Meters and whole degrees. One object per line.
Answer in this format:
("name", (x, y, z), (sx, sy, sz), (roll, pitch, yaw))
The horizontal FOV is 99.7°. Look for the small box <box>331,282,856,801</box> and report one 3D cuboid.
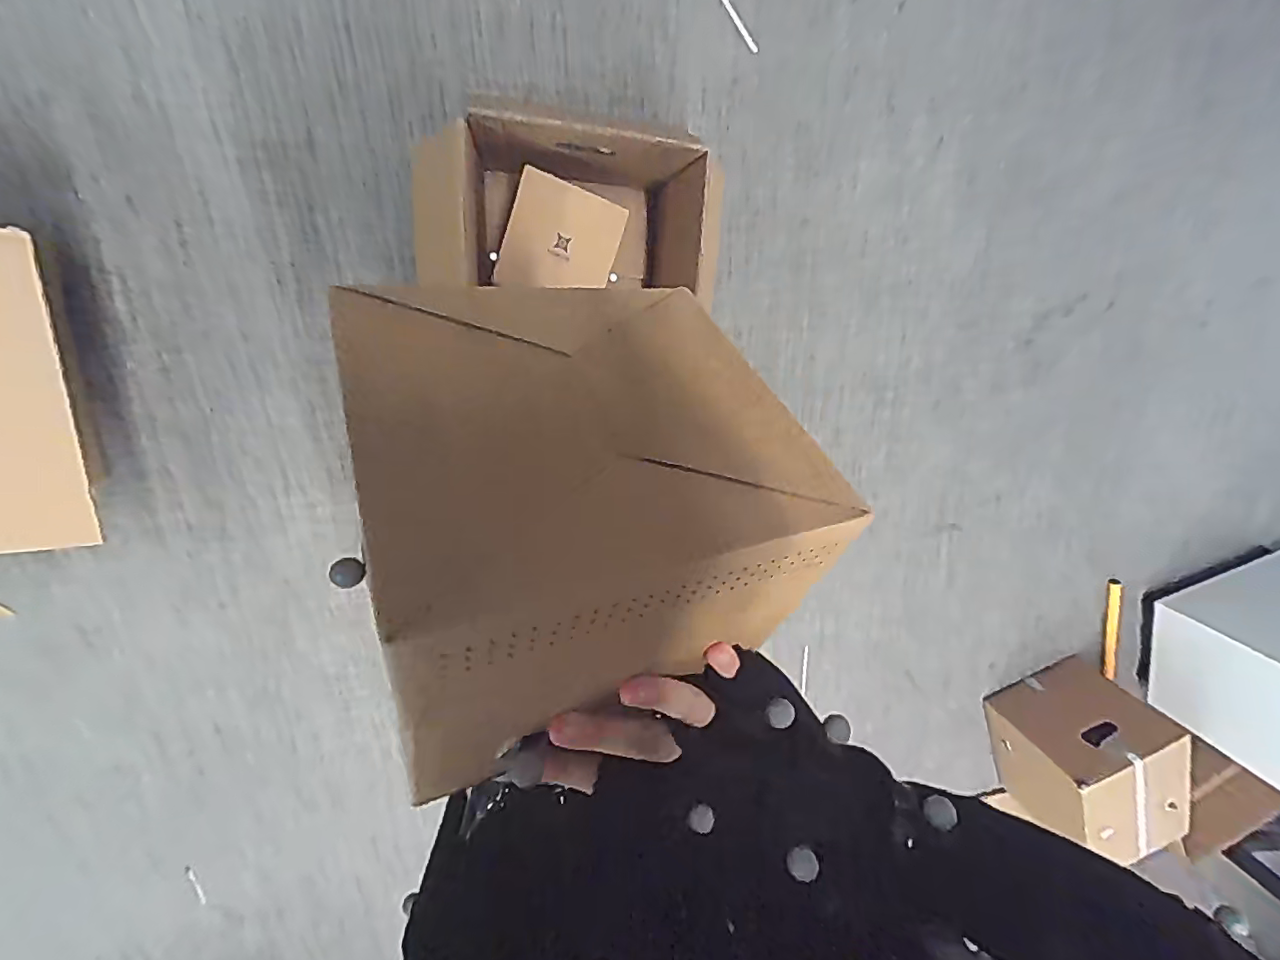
("small box", (-0.039, 0.018, 0.268), (0.179, 0.168, 0.176), (-11, 144, -28))
